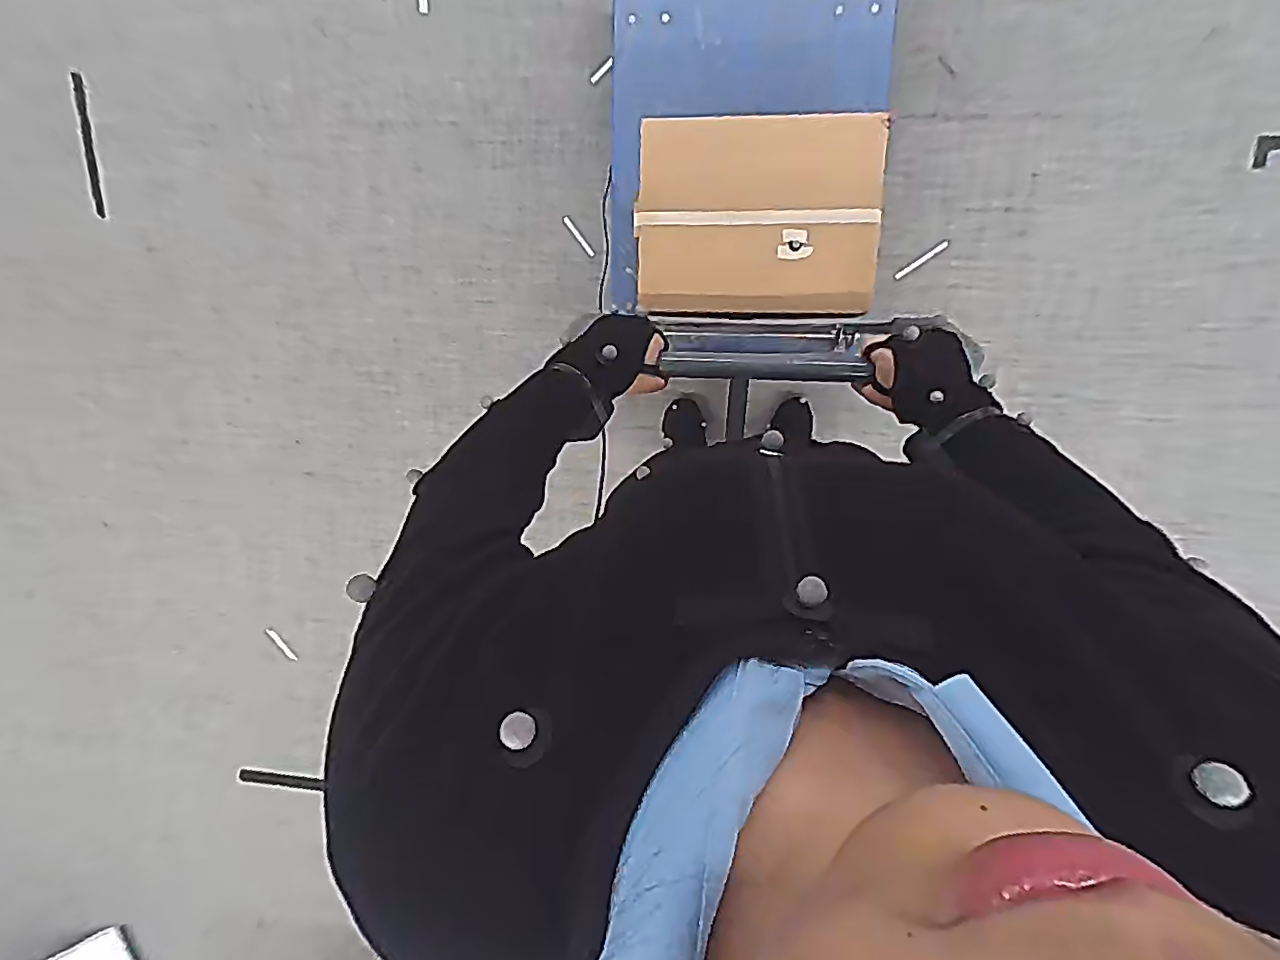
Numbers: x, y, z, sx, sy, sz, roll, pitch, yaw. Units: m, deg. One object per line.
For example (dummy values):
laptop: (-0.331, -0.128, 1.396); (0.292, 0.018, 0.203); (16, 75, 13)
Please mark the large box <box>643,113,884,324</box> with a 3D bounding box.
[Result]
large box: (0.216, -0.484, 1.078); (0.408, 0.320, 0.320); (2, 103, 5)
